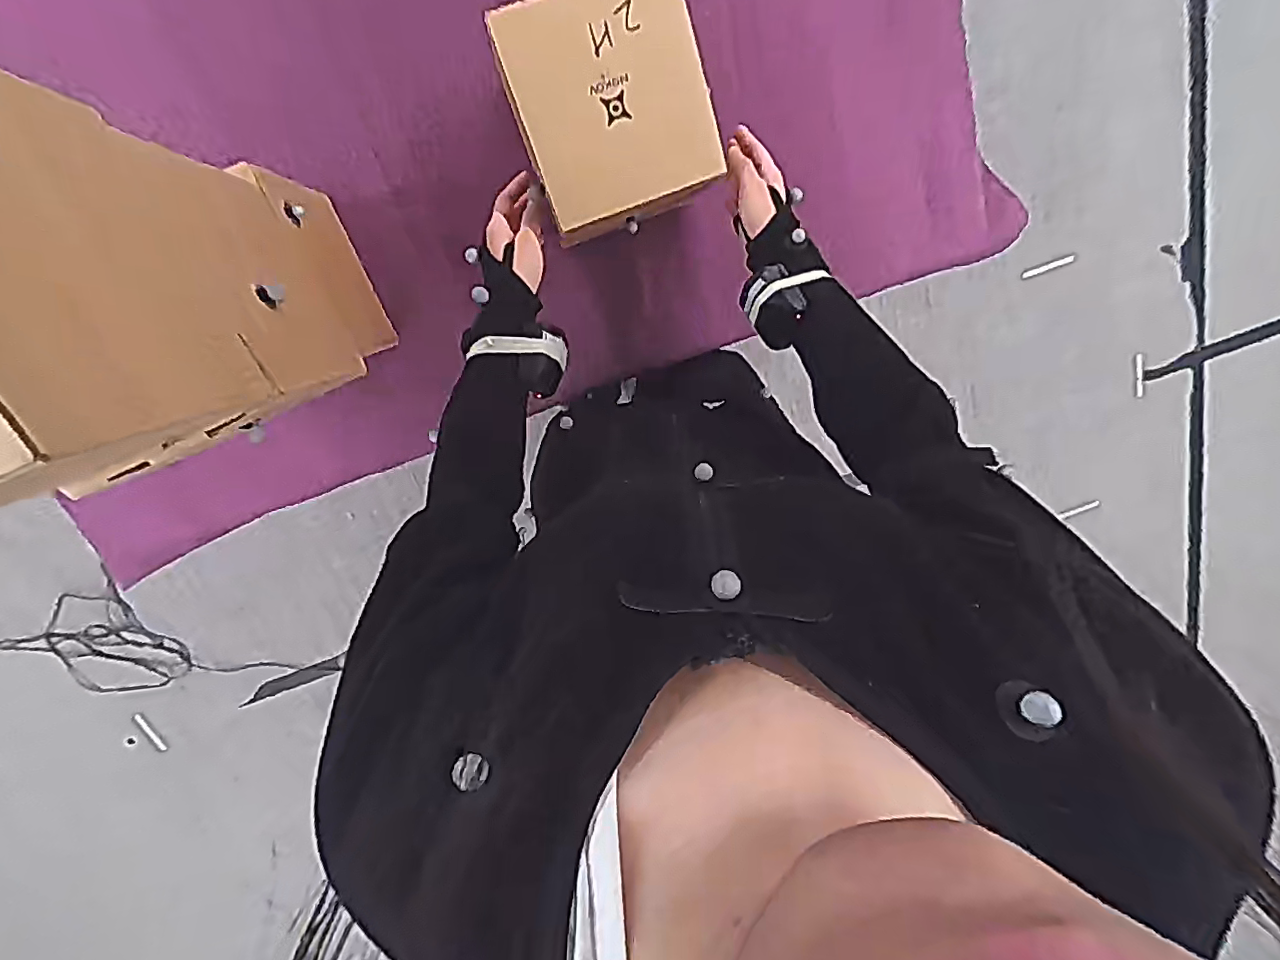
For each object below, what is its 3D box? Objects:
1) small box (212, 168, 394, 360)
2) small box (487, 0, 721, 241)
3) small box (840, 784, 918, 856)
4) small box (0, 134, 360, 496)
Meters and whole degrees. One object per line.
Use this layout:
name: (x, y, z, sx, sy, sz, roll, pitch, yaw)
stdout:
small box: (-0.387, -0.188, 0.561, 0.168, 0.176, 0.179, -21, 110, -1)
small box: (-0.035, -0.358, 0.551, 0.168, 0.176, 0.179, -21, 110, -1)
small box: (0.865, 1.237, 1.955, 0.179, 0.176, 0.168, 24, 104, -15)
small box: (-0.355, -0.119, 0.414, 0.168, 0.176, 0.179, -26, 110, 1)
